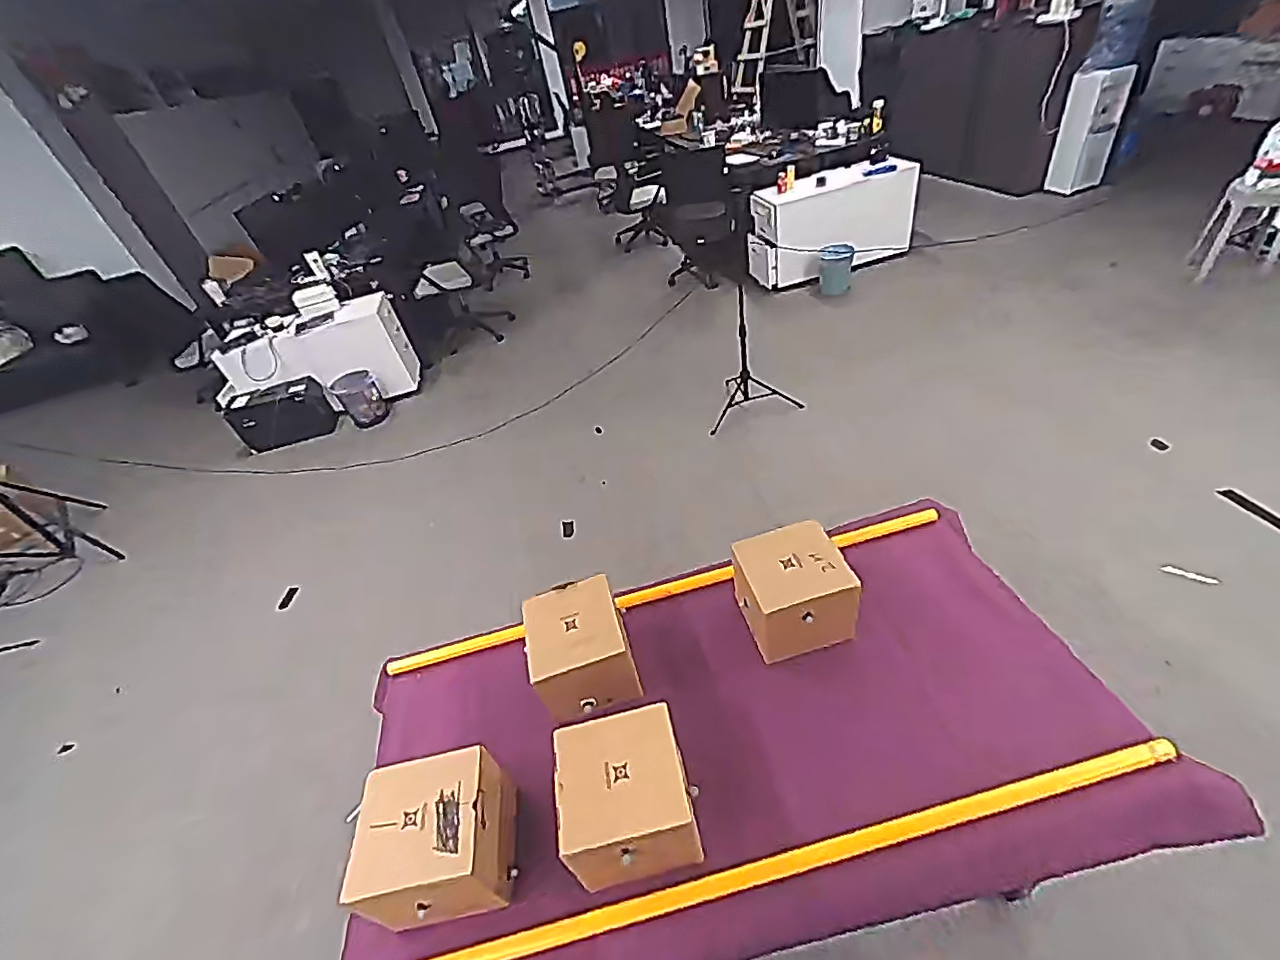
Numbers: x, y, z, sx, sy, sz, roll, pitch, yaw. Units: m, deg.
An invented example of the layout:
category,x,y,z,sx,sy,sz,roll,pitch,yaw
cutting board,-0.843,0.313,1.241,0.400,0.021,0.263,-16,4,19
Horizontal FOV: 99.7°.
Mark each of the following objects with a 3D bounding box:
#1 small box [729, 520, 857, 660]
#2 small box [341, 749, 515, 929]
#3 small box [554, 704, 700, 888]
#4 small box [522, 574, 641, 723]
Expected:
category,x,y,z,sx,sy,sz,roll,pitch,yaw
small box,0.280,0.207,1.006,0.179,0.176,0.168,-16,41,-3
small box,-0.292,0.526,0.793,0.179,0.176,0.168,-13,40,0
small box,-0.016,0.463,0.793,0.179,0.176,0.168,-15,40,-1
small box,-0.108,0.311,0.997,0.168,0.176,0.179,-18,41,-4
